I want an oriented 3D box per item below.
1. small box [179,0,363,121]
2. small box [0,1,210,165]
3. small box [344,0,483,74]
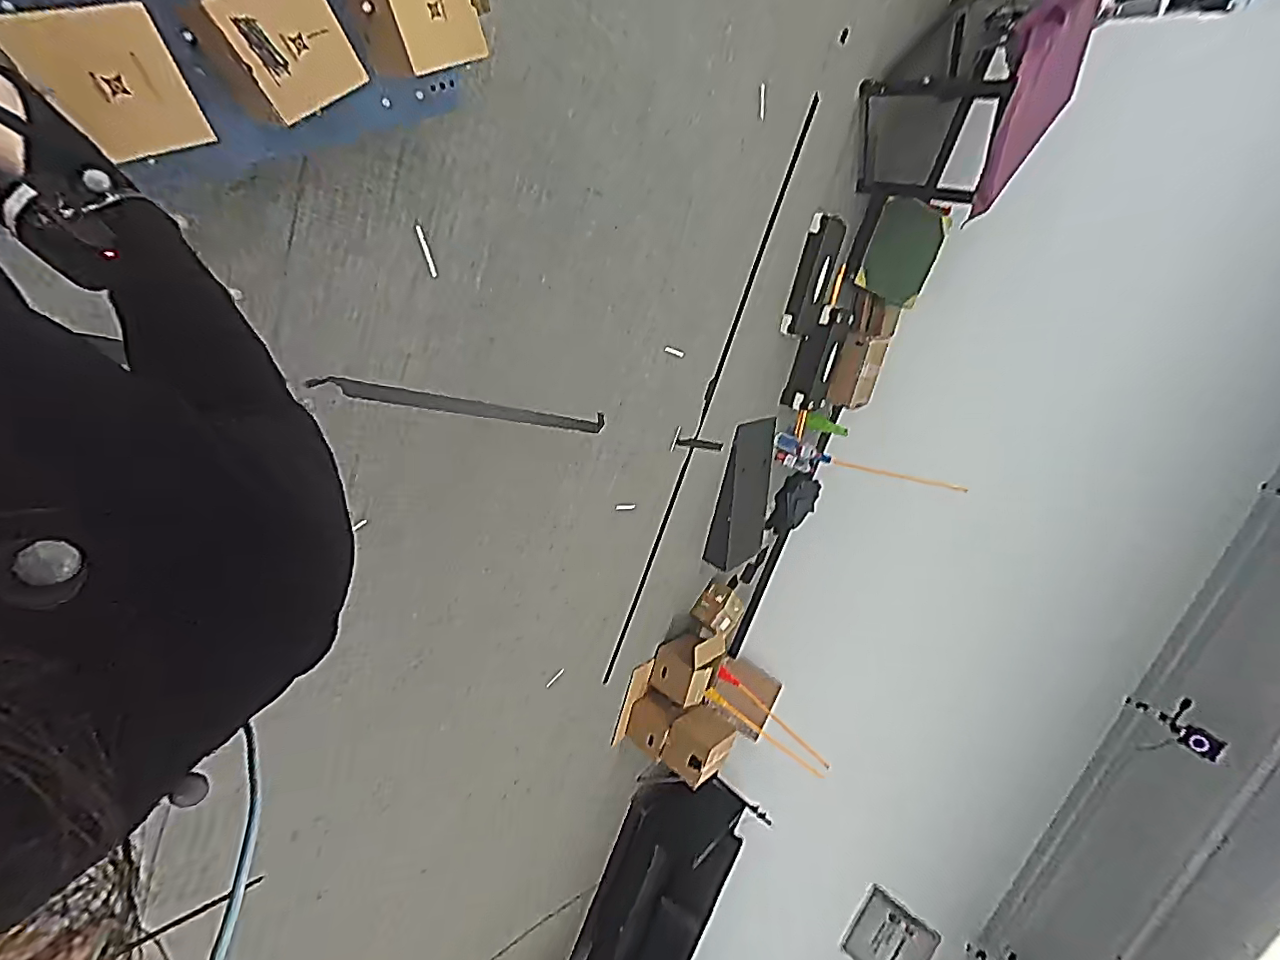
[{"bbox_3d":[-0.617,-0.726,0.903,0.179,0.176,0.168,-49,145,-21],"label":"small box"},{"bbox_3d":[-0.787,-0.572,0.784,0.179,0.176,0.168,-40,142,-31],"label":"small box"},{"bbox_3d":[-0.439,-0.891,1.028,0.179,0.176,0.168,-42,142,-28],"label":"small box"}]
